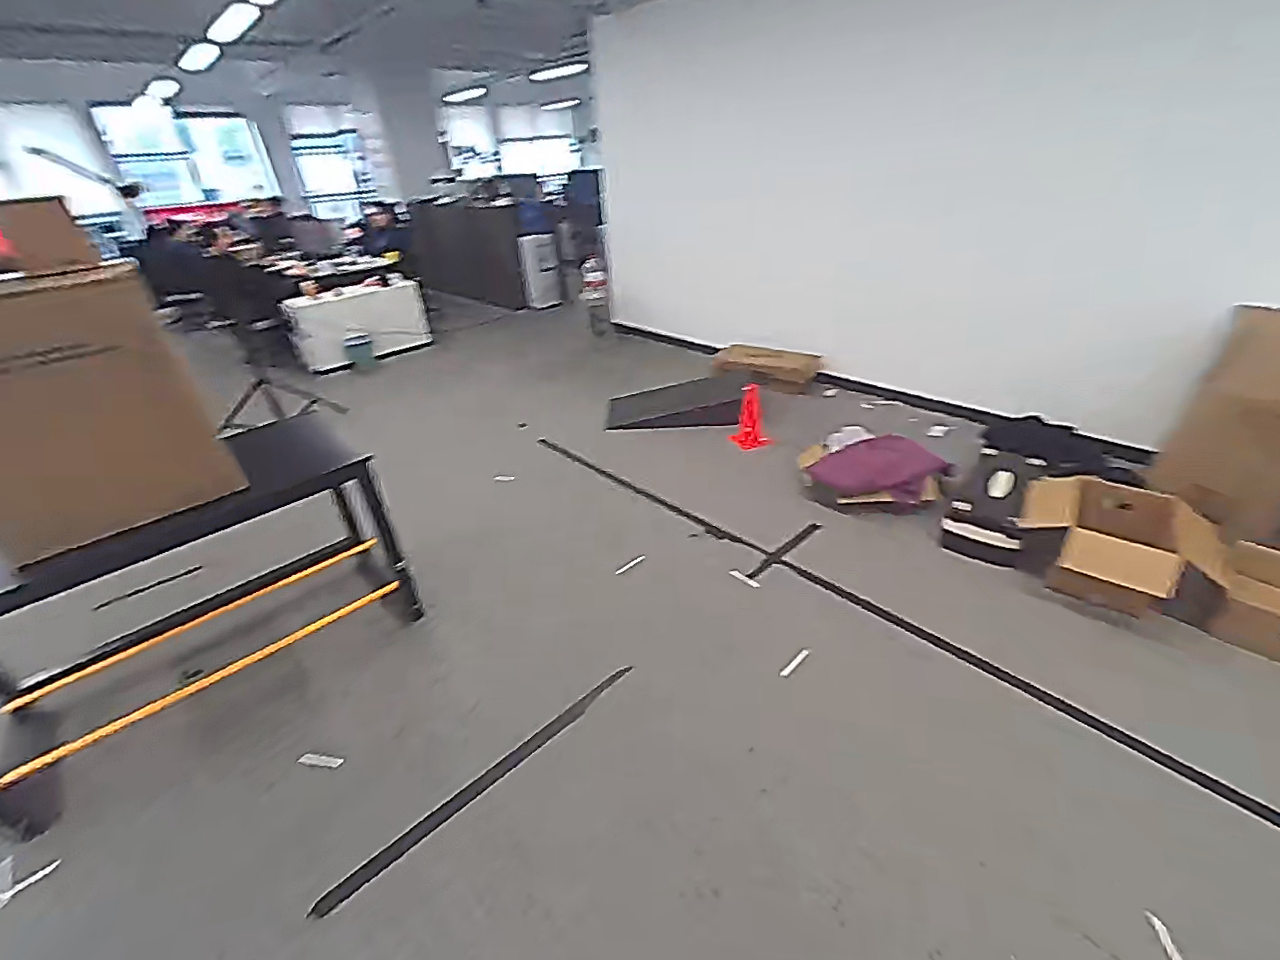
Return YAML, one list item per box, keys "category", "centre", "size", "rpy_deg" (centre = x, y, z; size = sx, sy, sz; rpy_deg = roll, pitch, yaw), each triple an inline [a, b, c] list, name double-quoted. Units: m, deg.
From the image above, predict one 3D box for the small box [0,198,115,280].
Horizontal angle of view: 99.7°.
- category: "small box"
  centre: [-1.484, -0.611, 1.369]
  size: [0.179, 0.176, 0.168]
  rpy_deg: [23, 42, 39]
